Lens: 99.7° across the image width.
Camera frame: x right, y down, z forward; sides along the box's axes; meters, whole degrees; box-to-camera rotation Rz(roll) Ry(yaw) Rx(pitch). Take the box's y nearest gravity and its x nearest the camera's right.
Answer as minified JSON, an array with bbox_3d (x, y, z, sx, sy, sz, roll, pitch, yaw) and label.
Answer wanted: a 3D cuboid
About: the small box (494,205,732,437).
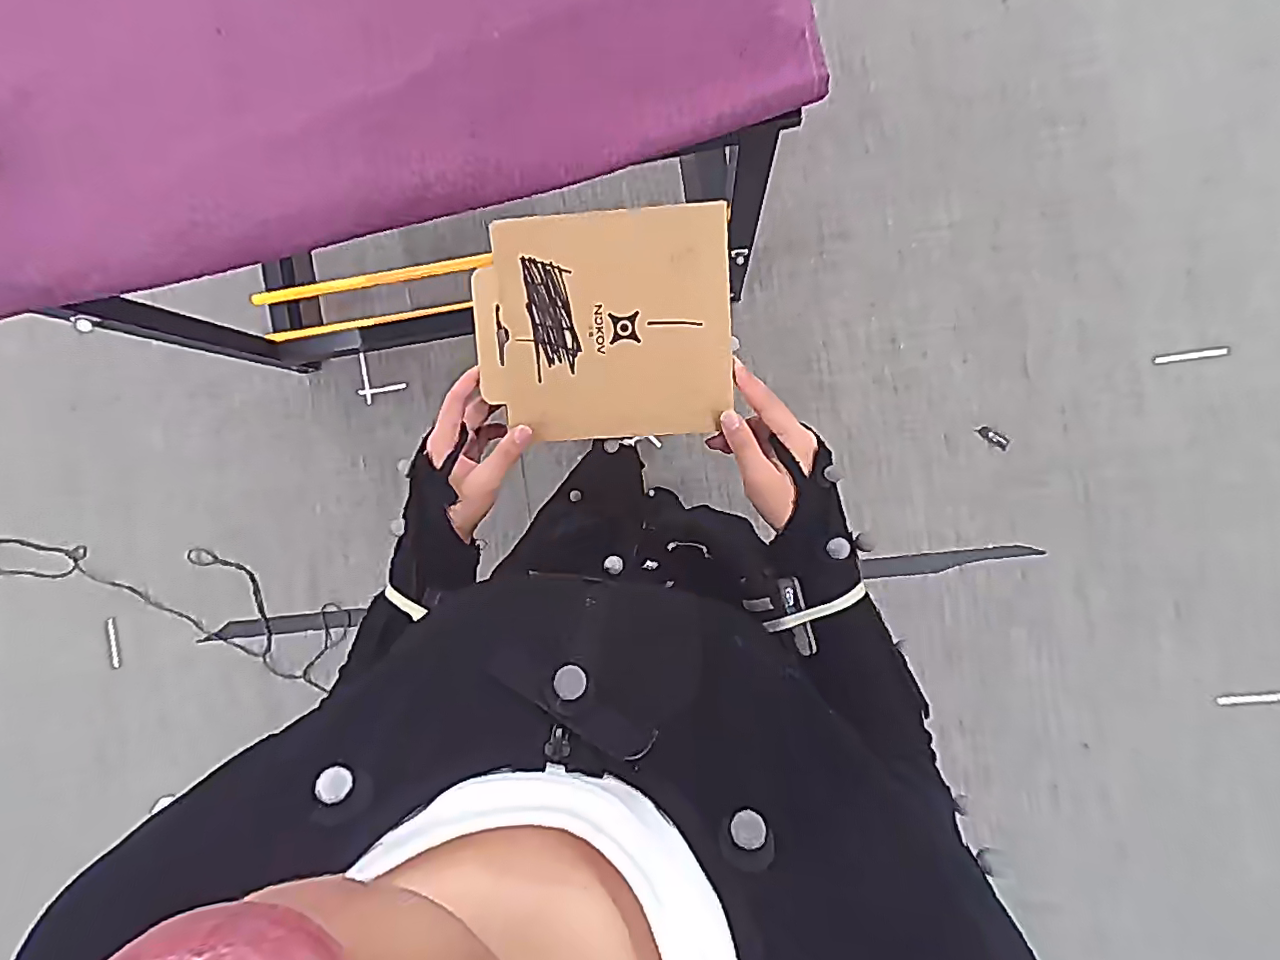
[{"bbox_3d":[-0.014,-0.125,0.485,0.179,0.176,0.168,-3,97,3],"label":"small box"}]
